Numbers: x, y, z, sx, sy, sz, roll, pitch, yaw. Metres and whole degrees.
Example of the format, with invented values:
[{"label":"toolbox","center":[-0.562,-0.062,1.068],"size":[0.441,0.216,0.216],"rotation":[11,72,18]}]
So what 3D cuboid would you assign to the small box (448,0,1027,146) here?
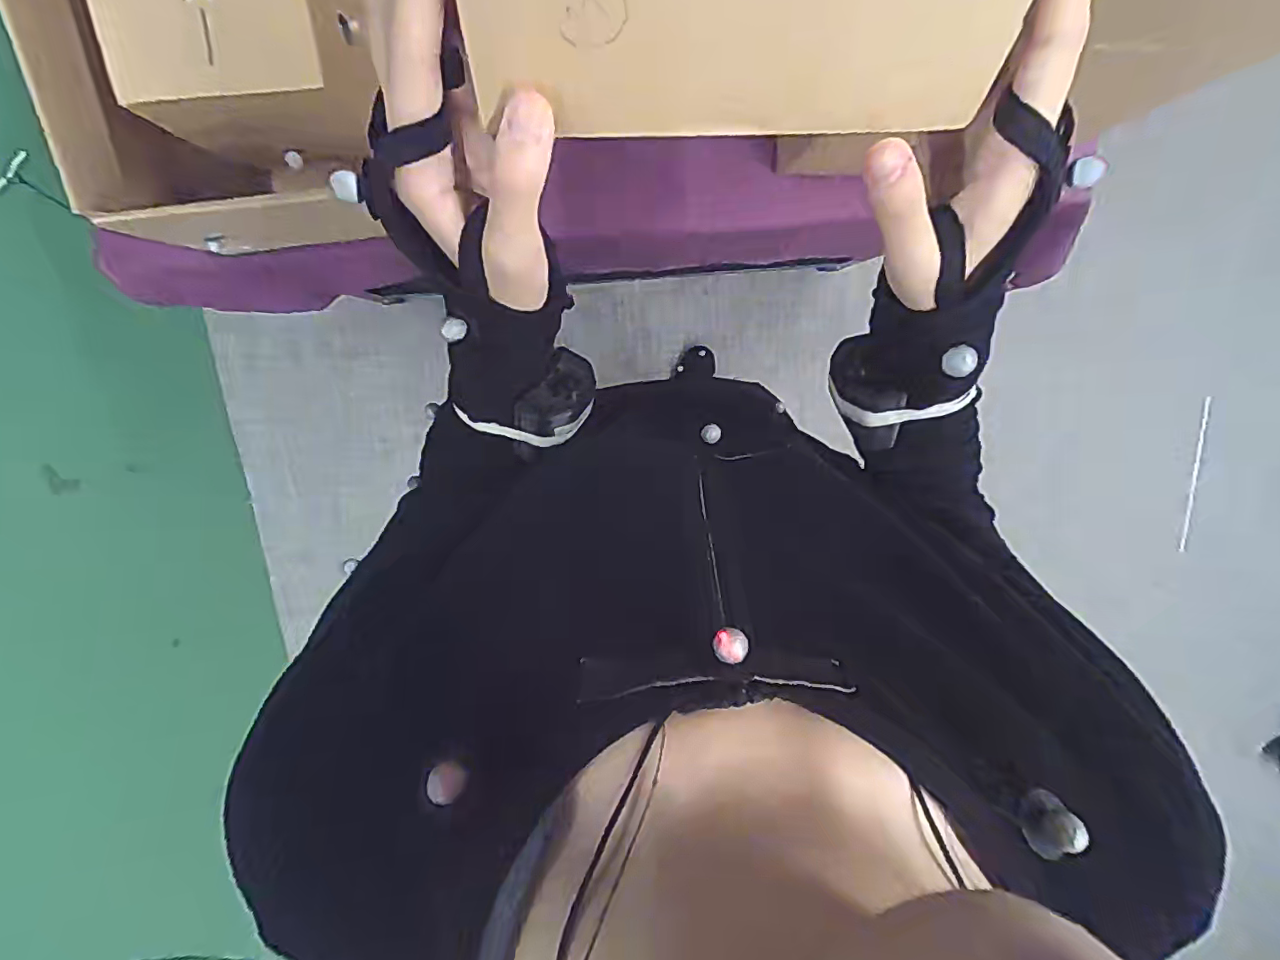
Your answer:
[{"label":"small box","center":[0.027,-0.231,0.162],"size":[0.179,0.168,0.176],"rotation":[-4,61,-5]}]
